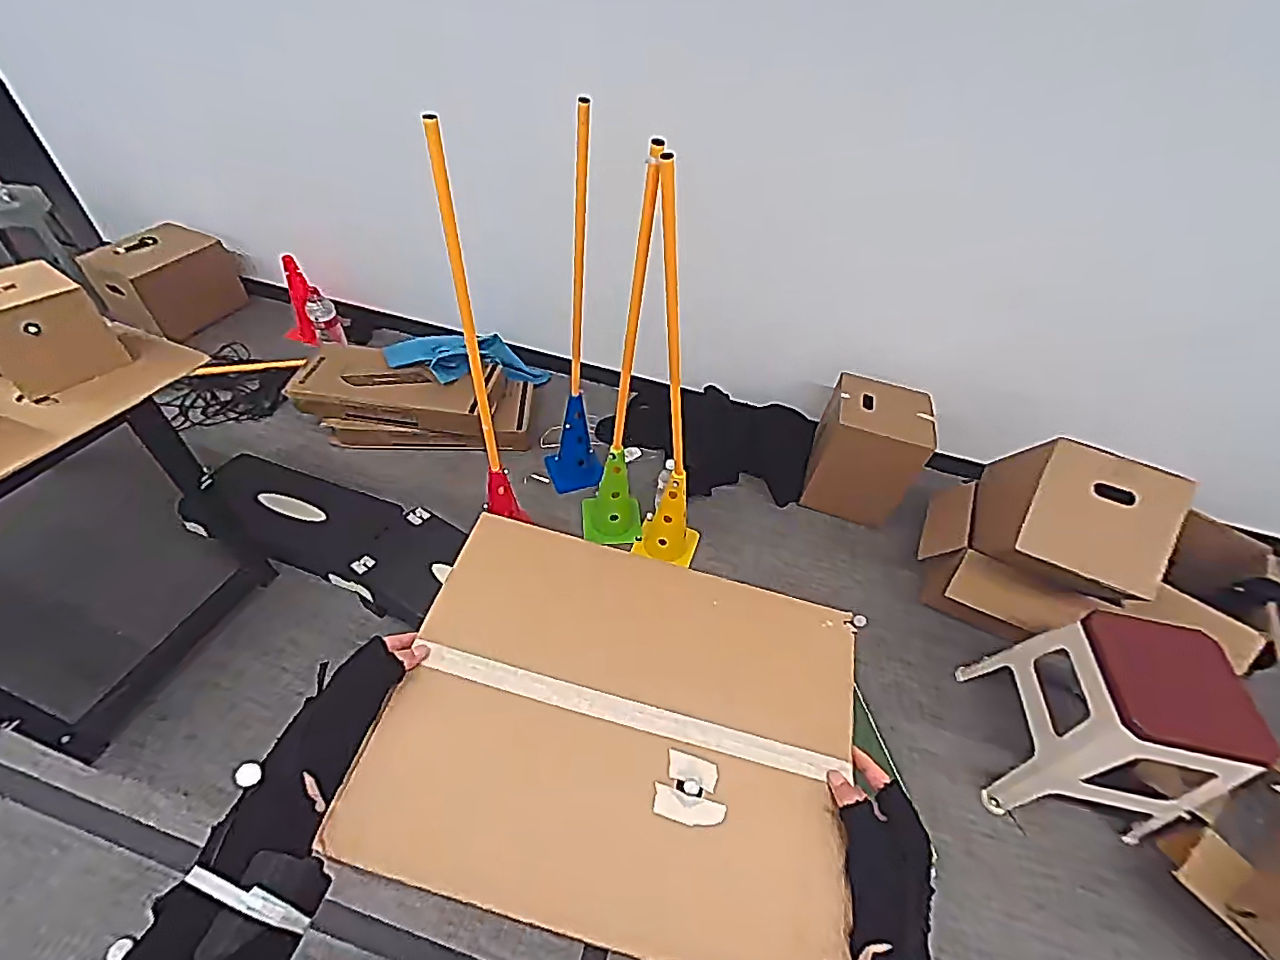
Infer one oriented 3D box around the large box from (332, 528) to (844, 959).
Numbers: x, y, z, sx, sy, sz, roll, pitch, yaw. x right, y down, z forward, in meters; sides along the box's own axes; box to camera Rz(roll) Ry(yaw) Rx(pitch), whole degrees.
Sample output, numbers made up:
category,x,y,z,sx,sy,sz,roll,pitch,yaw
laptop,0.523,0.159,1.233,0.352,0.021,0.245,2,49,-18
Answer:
category,x,y,z,sx,sy,sz,roll,pitch,yaw
large box,-0.031,0.305,0.607,0.408,0.320,0.320,16,53,2
